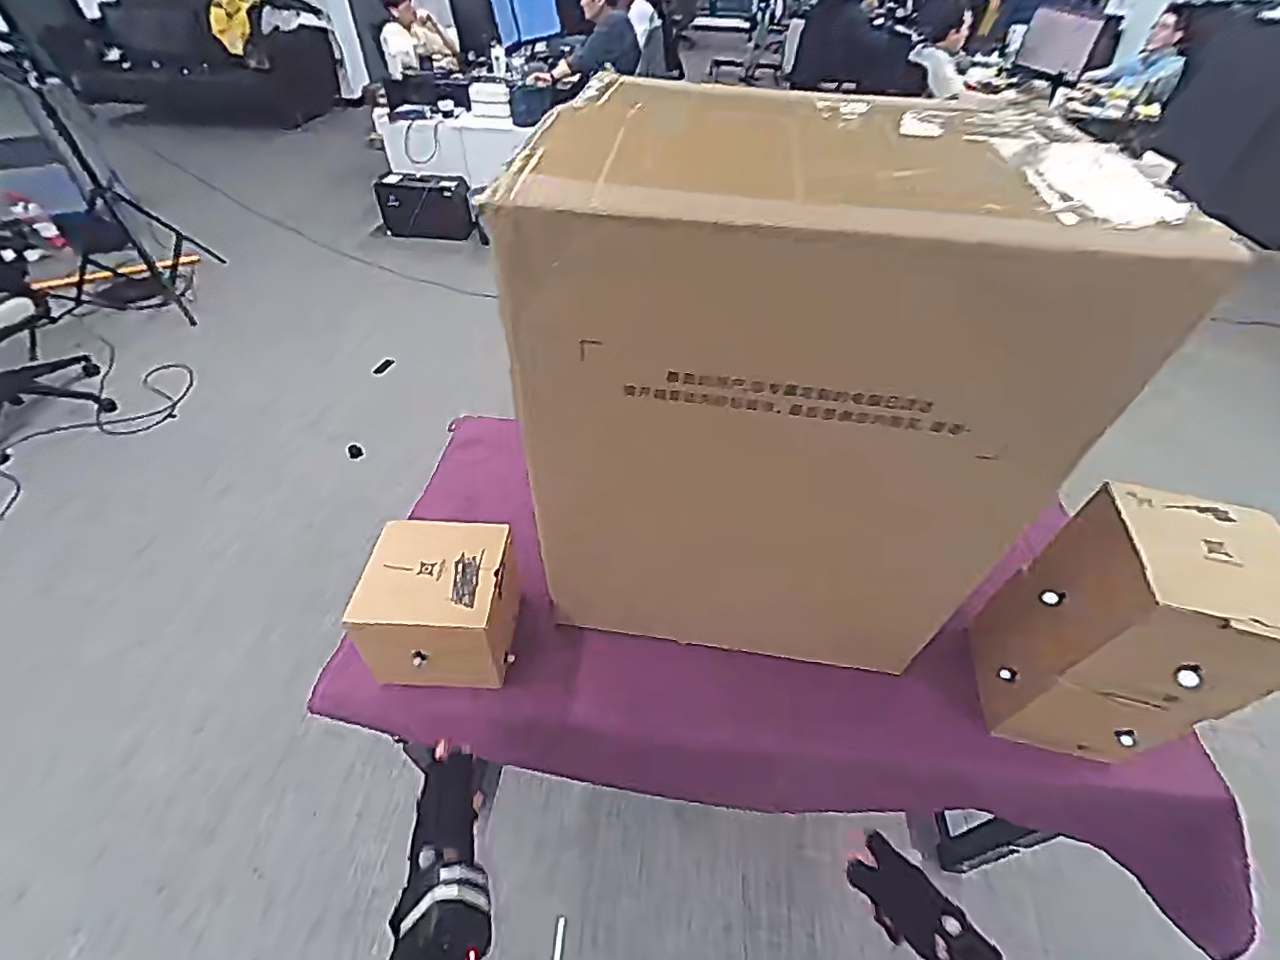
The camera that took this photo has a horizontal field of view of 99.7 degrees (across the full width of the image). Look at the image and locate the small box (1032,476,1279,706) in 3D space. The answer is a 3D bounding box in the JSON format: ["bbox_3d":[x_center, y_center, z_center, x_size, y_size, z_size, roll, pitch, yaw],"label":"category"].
[{"bbox_3d":[0.589,0.128,0.614,0.168,0.176,0.179,14,47,10],"label":"small box"}]

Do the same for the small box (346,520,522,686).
[{"bbox_3d":[-0.269,0.176,0.763,0.179,0.176,0.168,2,44,-1],"label":"small box"}]

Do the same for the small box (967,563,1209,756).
[{"bbox_3d":[0.577,0.244,0.730,0.168,0.176,0.179,11,45,8],"label":"small box"}]
